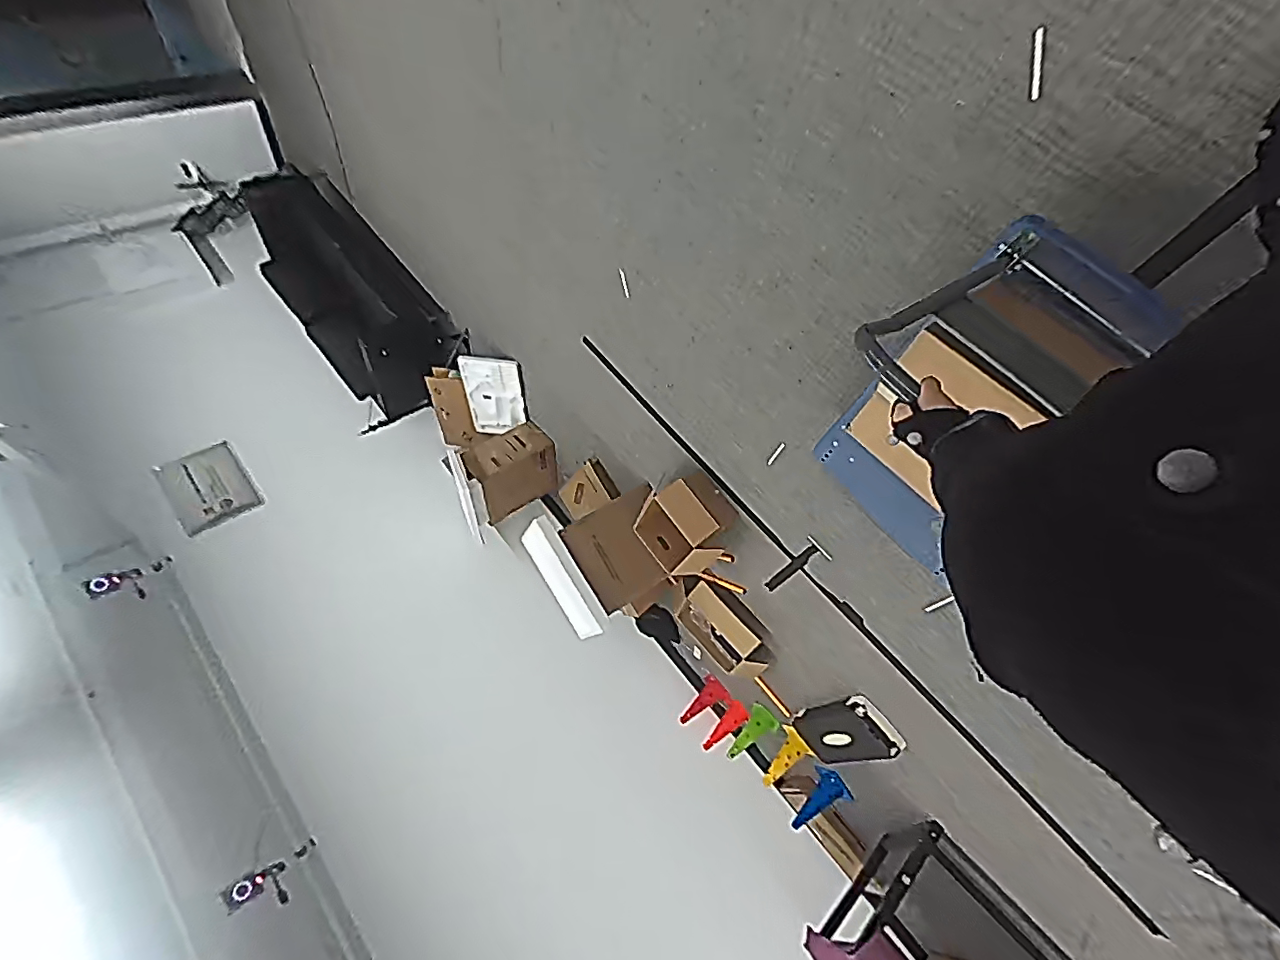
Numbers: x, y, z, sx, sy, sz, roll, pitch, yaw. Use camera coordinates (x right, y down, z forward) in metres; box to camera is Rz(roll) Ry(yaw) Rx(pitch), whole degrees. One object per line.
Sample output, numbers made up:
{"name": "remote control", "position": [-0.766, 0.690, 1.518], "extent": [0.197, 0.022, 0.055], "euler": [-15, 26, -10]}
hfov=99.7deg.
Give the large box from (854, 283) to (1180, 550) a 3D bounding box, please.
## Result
{"name": "large box", "position": [0.760, -0.139, 1.137], "extent": [0.408, 0.320, 0.320], "euler": [48, 149, 20]}
